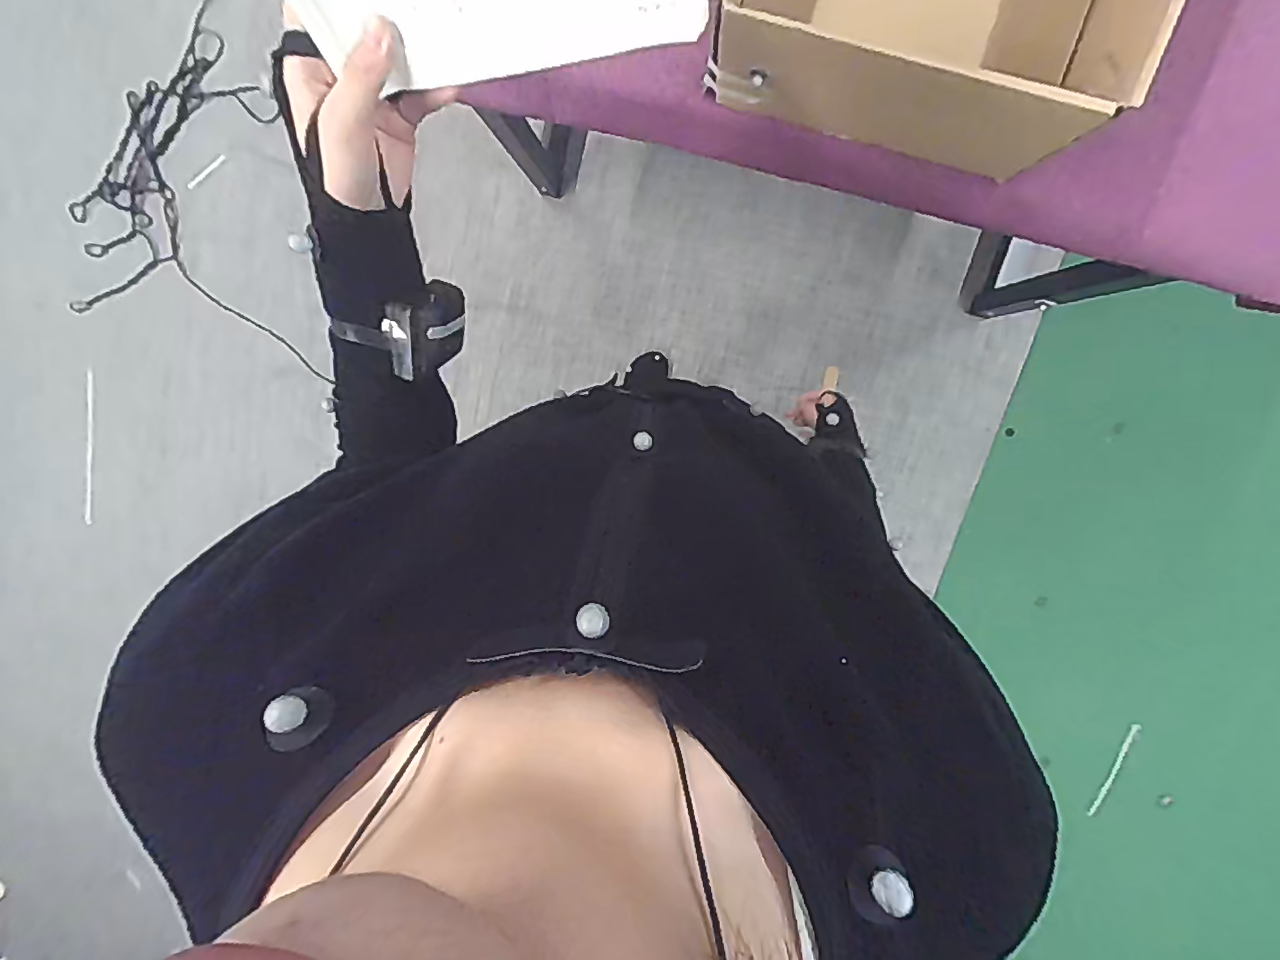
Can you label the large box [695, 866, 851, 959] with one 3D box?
[{"bbox_3d":[0.370,1.400,1.589,0.408,0.320,0.320,0,101,3],"label":"large box"}]
